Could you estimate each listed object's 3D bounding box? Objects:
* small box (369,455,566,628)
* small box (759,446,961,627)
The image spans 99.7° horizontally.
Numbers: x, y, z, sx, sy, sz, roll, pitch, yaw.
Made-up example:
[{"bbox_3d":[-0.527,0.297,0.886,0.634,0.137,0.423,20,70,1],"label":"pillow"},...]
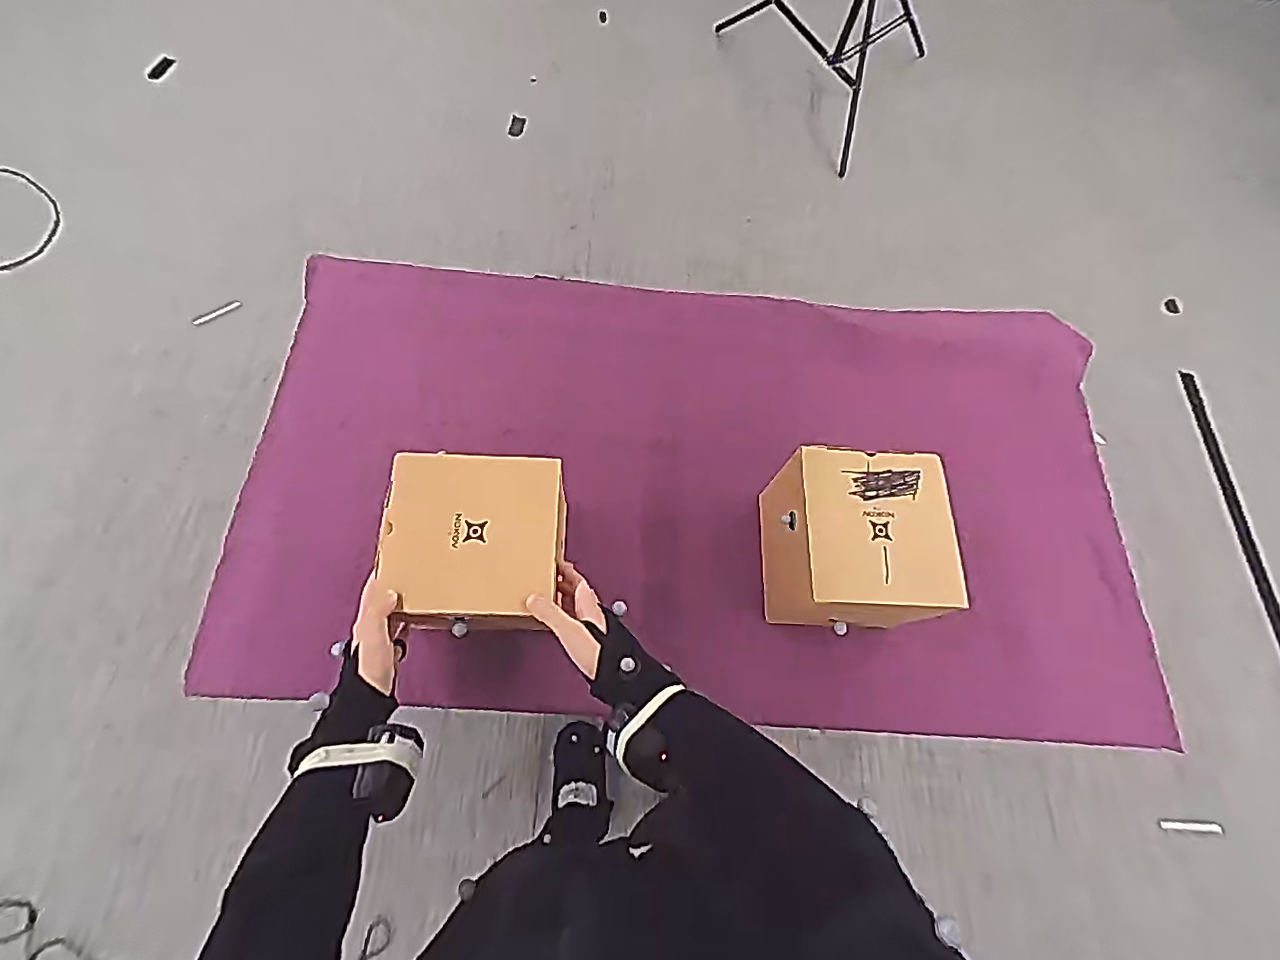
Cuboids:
[{"bbox_3d":[-0.178,0.079,0.623,0.179,0.176,0.168,2,71,-4],"label":"small box"},{"bbox_3d":[0.248,0.076,0.659,0.168,0.176,0.179,3,68,-3],"label":"small box"}]
